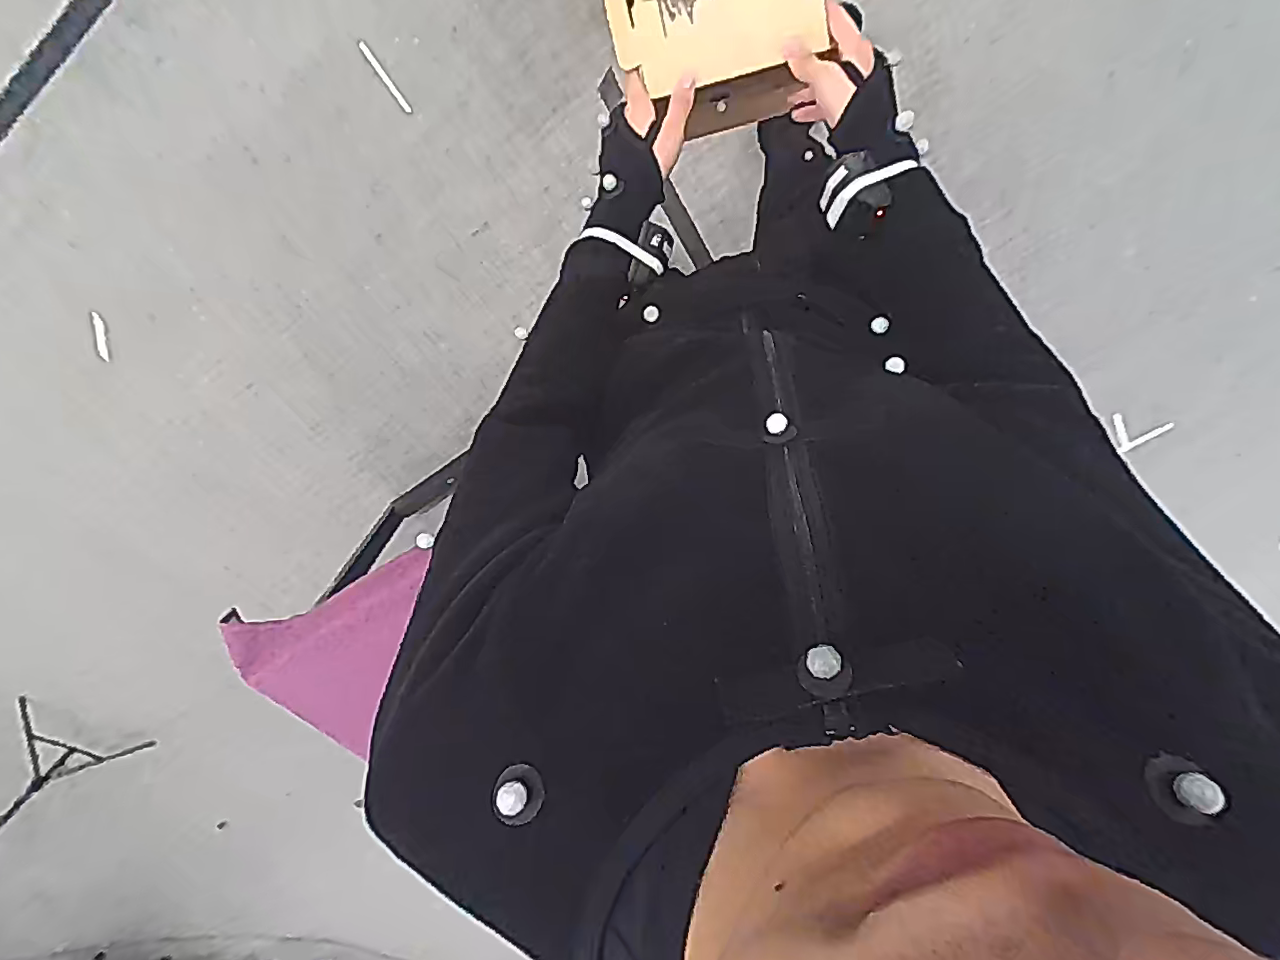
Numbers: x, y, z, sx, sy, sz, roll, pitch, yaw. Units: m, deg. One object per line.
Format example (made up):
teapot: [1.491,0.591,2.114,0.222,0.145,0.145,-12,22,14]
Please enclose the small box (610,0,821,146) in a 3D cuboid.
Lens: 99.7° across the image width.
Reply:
small box: [0.065,-0.474,0.557,0.179,0.176,0.168,-14,106,4]
